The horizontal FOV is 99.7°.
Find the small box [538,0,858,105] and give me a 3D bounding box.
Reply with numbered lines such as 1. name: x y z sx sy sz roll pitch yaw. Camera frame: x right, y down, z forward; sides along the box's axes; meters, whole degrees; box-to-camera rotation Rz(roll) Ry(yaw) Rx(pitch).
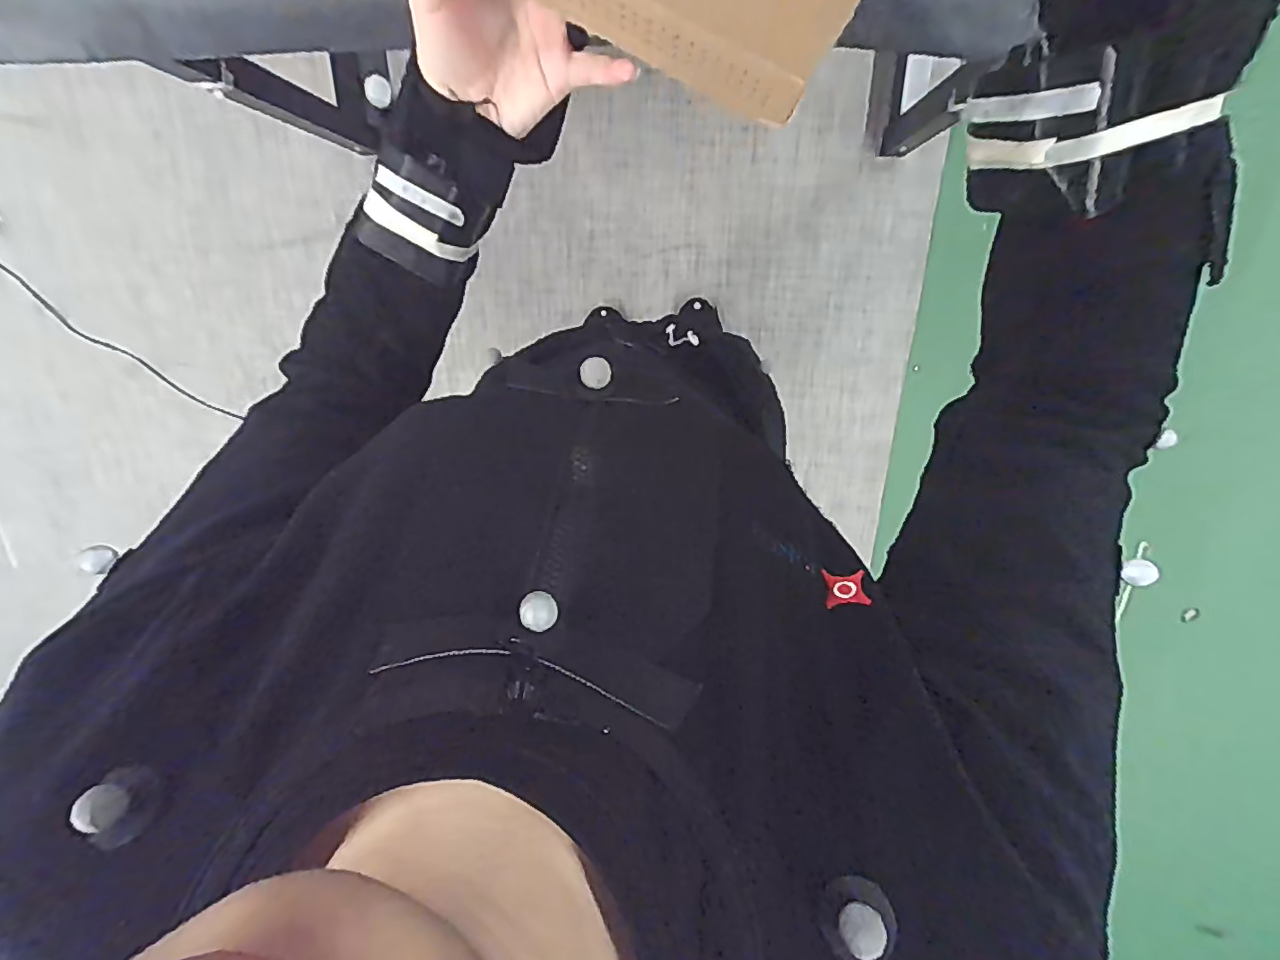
1. small box: 0.025 -0.259 0.161 0.179 0.176 0.168 23 101 -6
